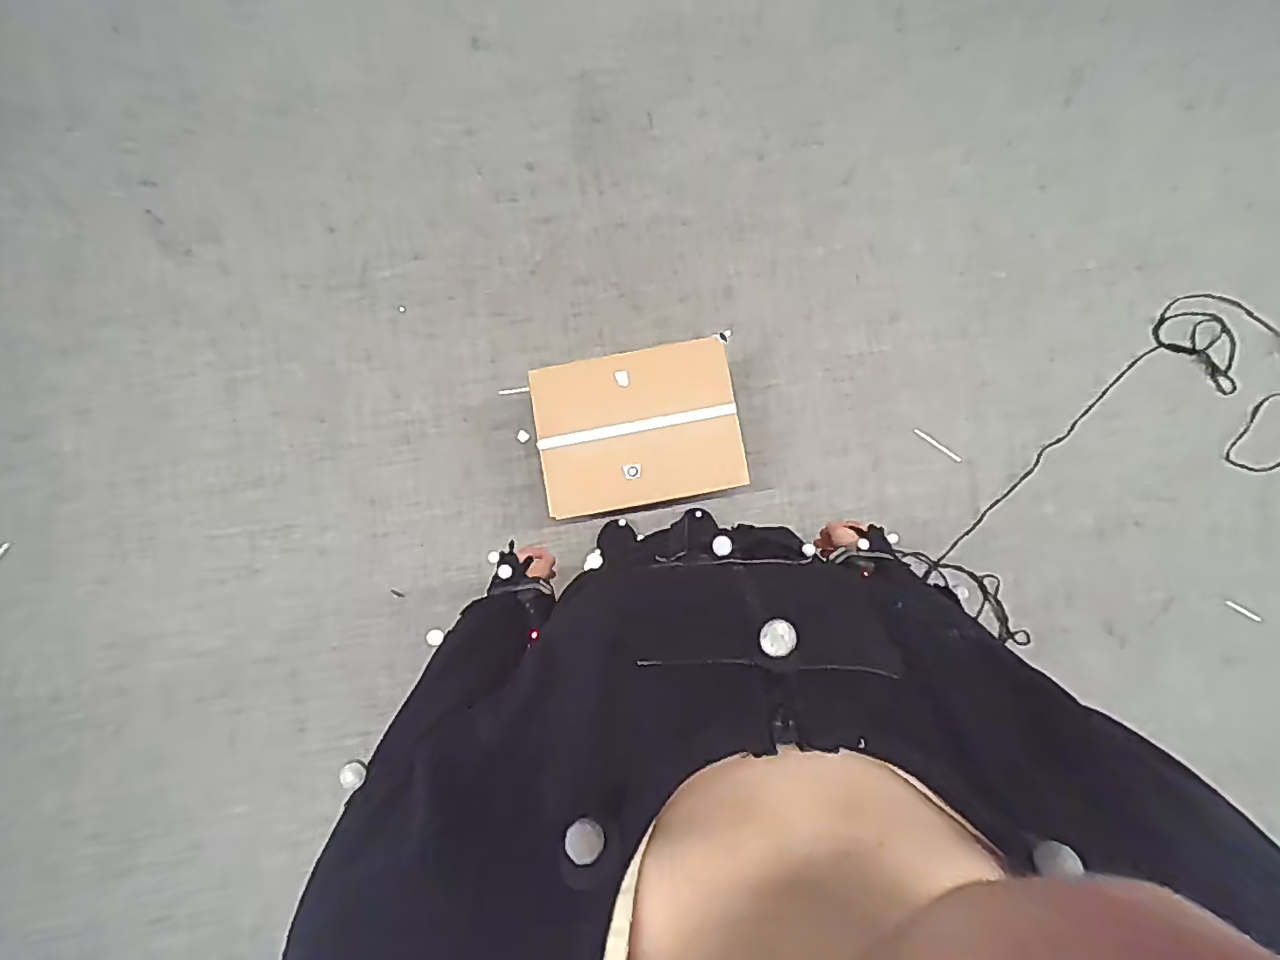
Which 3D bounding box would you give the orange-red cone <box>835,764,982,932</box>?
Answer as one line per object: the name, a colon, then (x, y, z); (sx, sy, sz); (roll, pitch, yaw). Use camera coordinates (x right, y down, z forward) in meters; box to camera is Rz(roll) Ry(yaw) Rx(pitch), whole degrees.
orange-red cone: (0.577, 0.777, 1.114); (0.199, 0.360, 0.198); (12, 86, -1)
